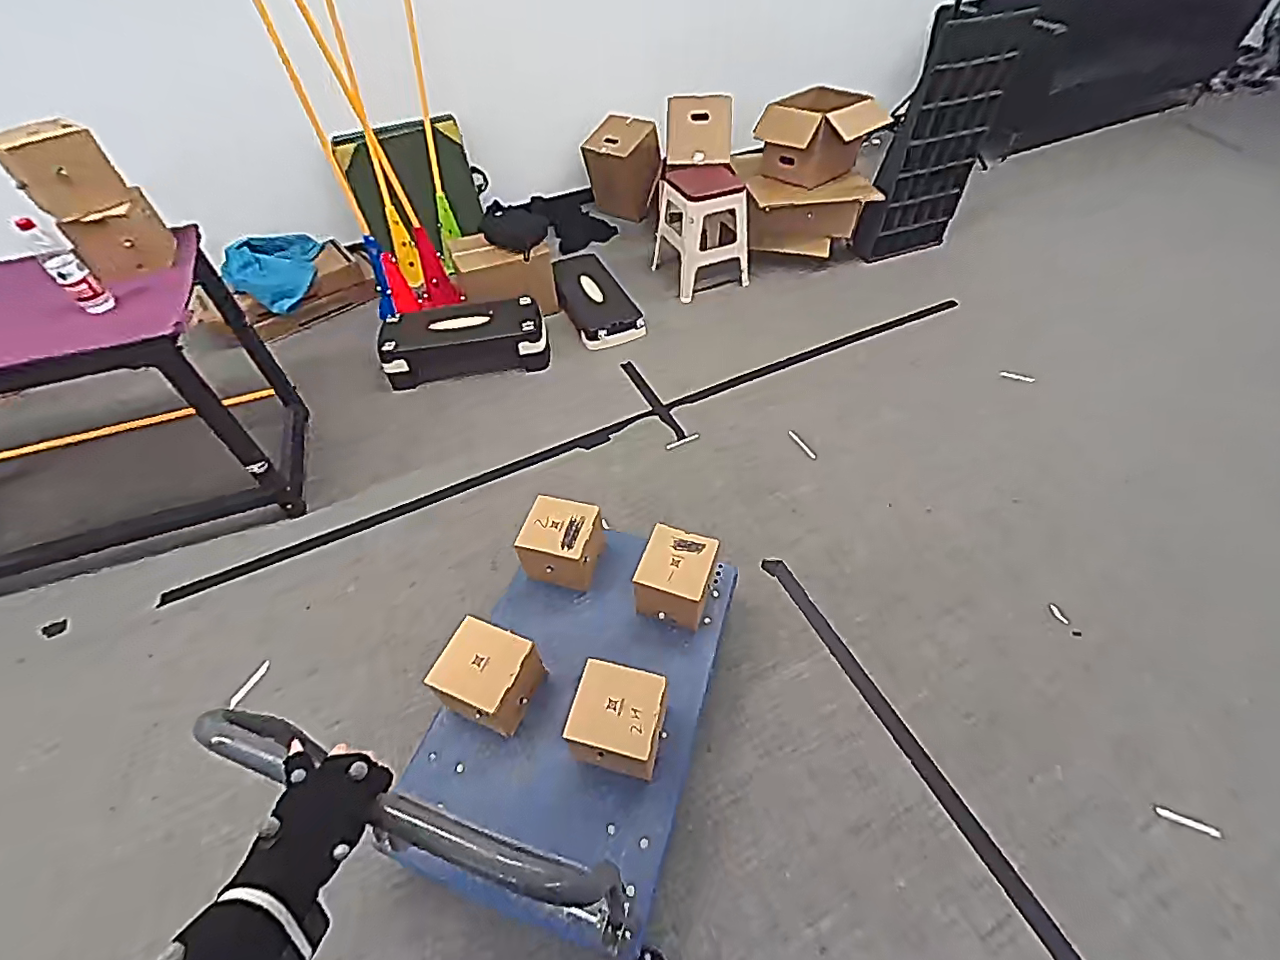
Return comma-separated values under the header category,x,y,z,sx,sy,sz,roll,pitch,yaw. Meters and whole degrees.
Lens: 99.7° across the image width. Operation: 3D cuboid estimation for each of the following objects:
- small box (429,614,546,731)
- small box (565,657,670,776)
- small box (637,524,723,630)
category,x,y,z,sx,sy,sz,roll,pitch,yaw
small box,-0.333,0.436,1.214,0.179,0.176,0.168,18,53,15
small box,-0.040,0.503,1.142,0.179,0.176,0.168,11,52,12
small box,0.100,0.243,1.354,0.168,0.176,0.179,15,54,15
